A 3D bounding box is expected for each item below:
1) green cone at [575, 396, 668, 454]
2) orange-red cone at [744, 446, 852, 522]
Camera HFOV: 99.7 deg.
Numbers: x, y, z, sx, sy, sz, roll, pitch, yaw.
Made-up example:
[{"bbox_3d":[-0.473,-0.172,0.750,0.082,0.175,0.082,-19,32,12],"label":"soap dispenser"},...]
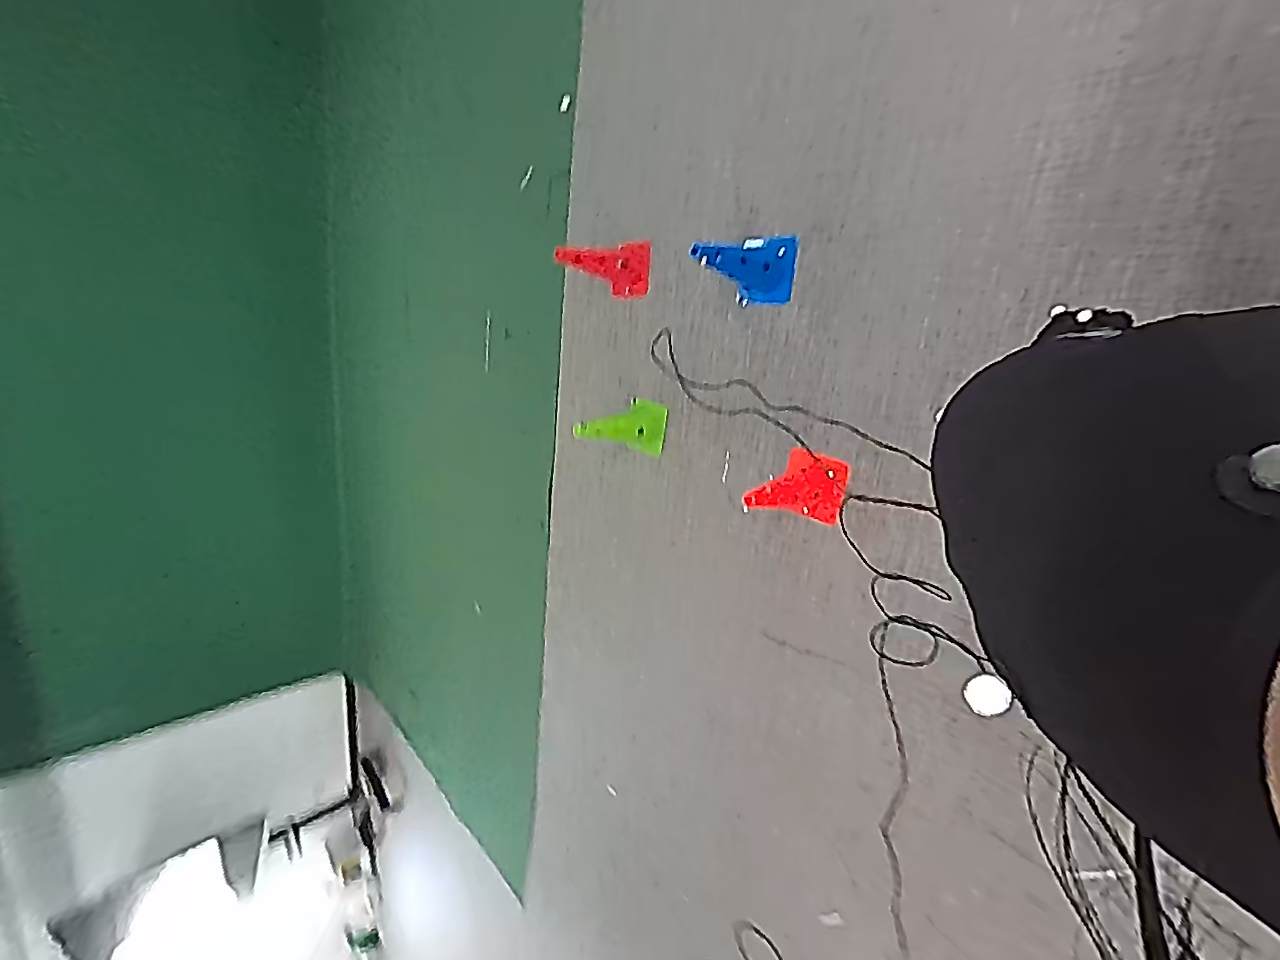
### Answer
[{"bbox_3d":[-0.095,-0.200,2.017,0.202,0.368,0.200,22,112,40],"label":"green cone"},{"bbox_3d":[0.413,0.026,1.541,0.199,0.360,0.198,27,113,42],"label":"orange-red cone"}]
